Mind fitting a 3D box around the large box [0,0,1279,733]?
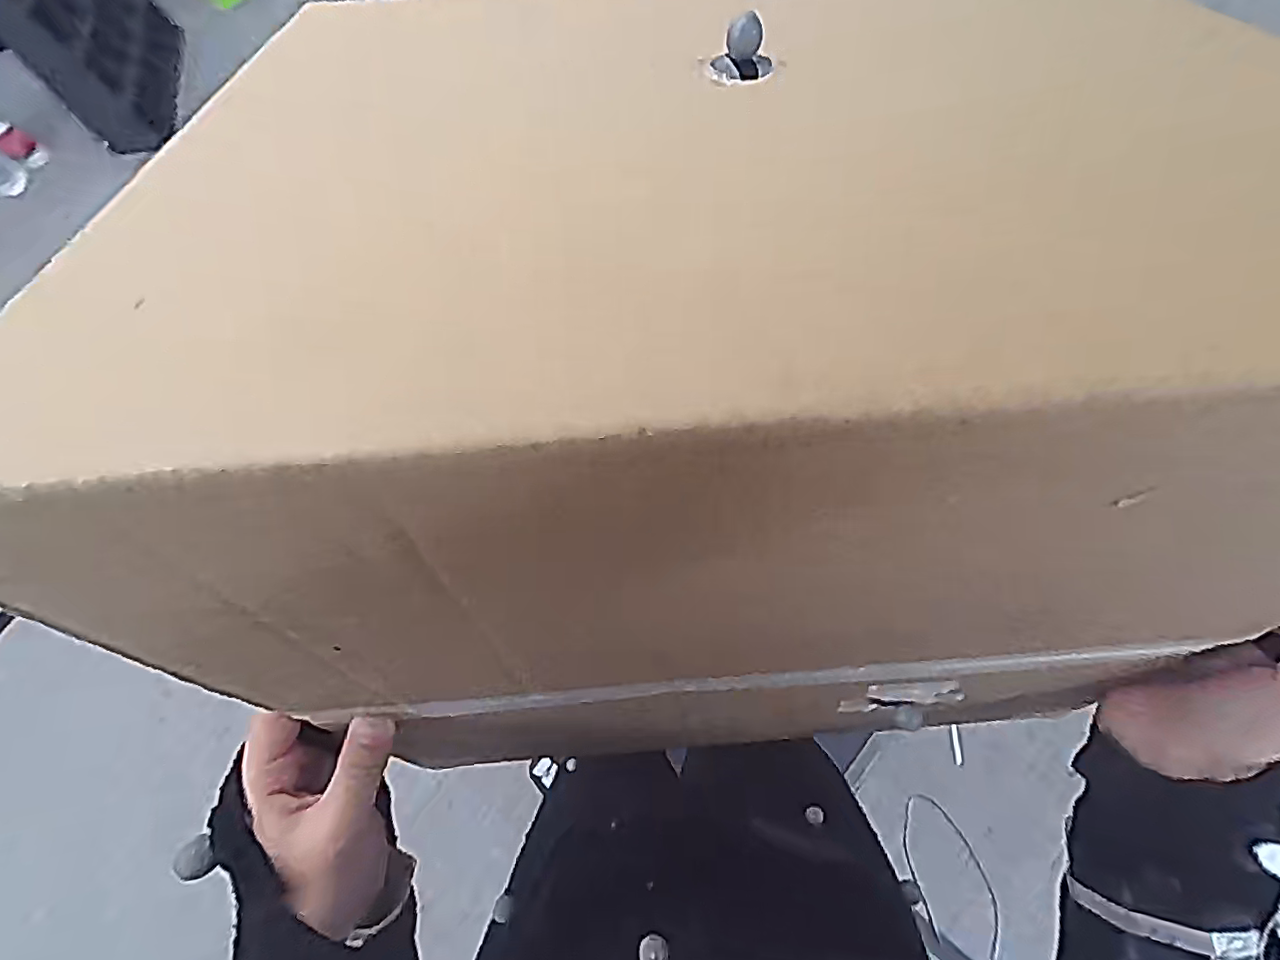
[{"bbox_3d":[0.056,-0.070,0.303,0.408,0.320,0.320,-5,55,0],"label":"large box"}]
